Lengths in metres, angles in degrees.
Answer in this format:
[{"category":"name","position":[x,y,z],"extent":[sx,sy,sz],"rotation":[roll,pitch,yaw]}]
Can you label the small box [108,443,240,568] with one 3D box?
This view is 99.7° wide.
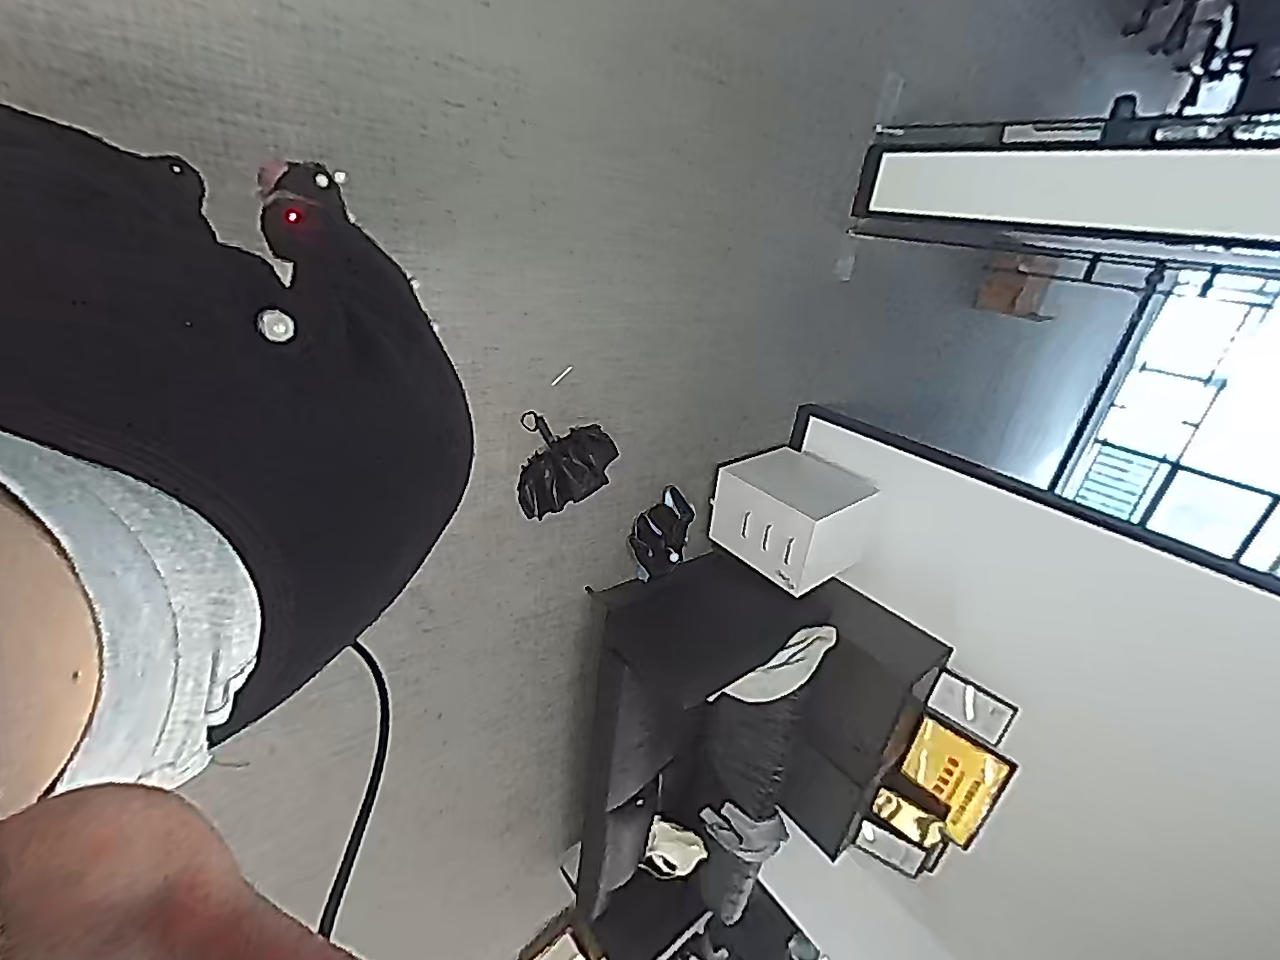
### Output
[{"category":"small box","position":[-0.947,0.045,1.107],"extent":[0.168,0.176,0.179],"rotation":[-18,124,-36]}]
